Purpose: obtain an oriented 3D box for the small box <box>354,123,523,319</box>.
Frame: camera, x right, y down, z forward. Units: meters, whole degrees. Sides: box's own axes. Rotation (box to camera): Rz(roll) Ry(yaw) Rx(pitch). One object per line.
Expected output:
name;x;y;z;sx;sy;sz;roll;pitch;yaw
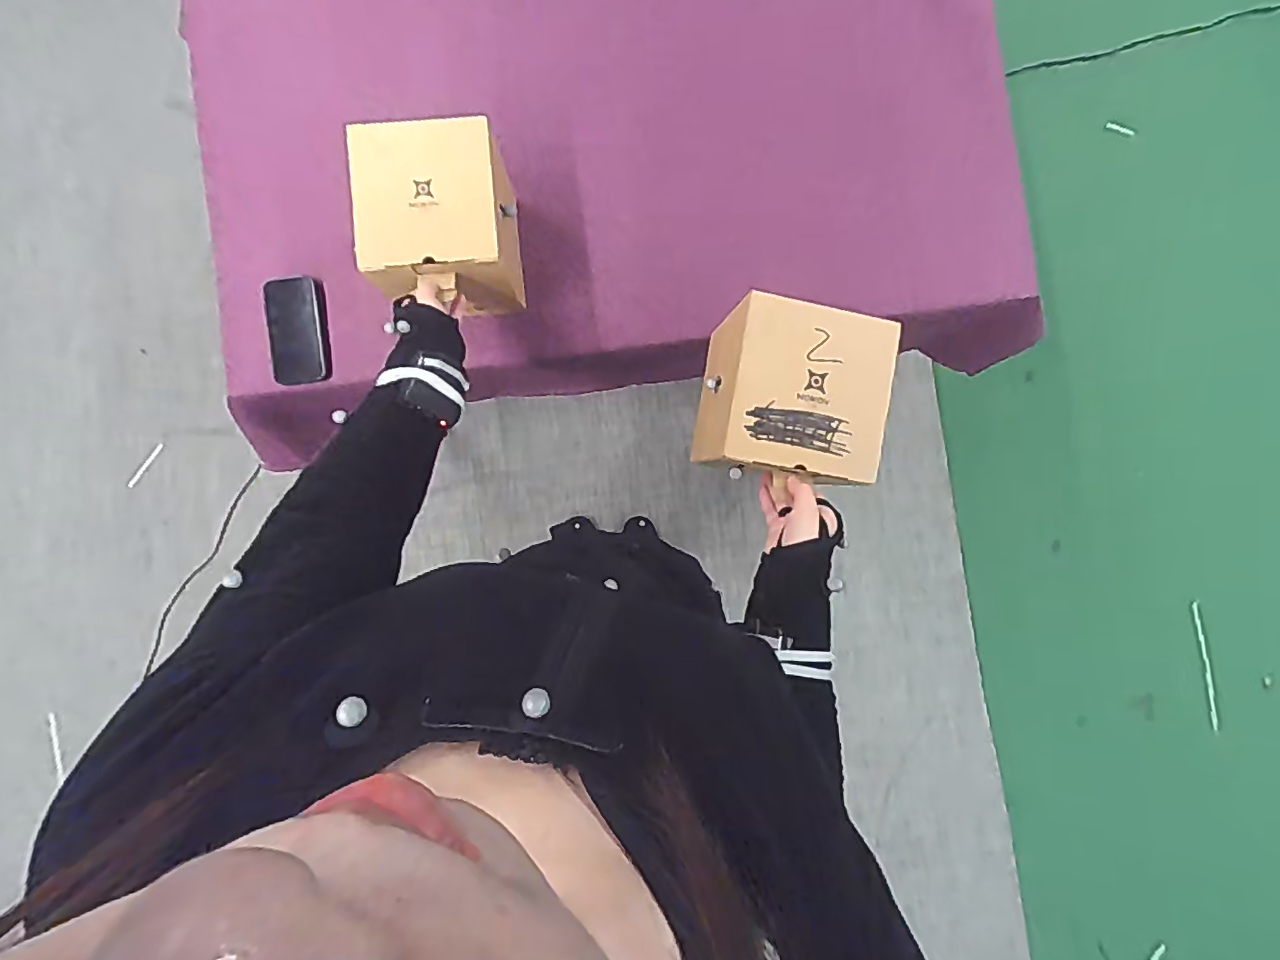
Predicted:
small box;-0.252;-0.328;0.711;0.168;0.176;0.179;-5;88;-3
